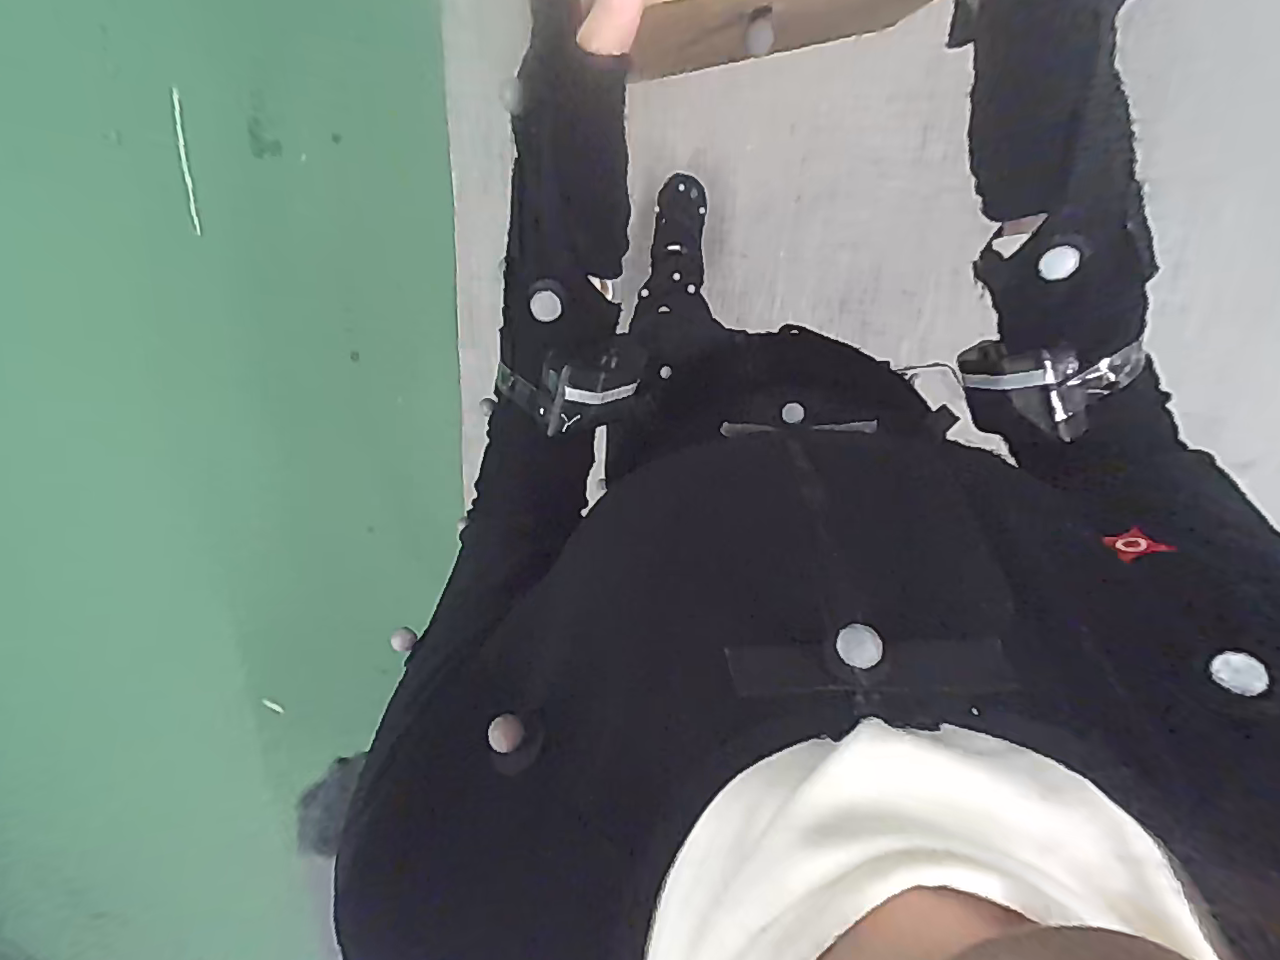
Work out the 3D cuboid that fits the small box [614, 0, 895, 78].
[{"bbox_3d":[0.060,-0.312,0.242,0.179,0.176,0.168,-10,115,7],"label":"small box"}]
